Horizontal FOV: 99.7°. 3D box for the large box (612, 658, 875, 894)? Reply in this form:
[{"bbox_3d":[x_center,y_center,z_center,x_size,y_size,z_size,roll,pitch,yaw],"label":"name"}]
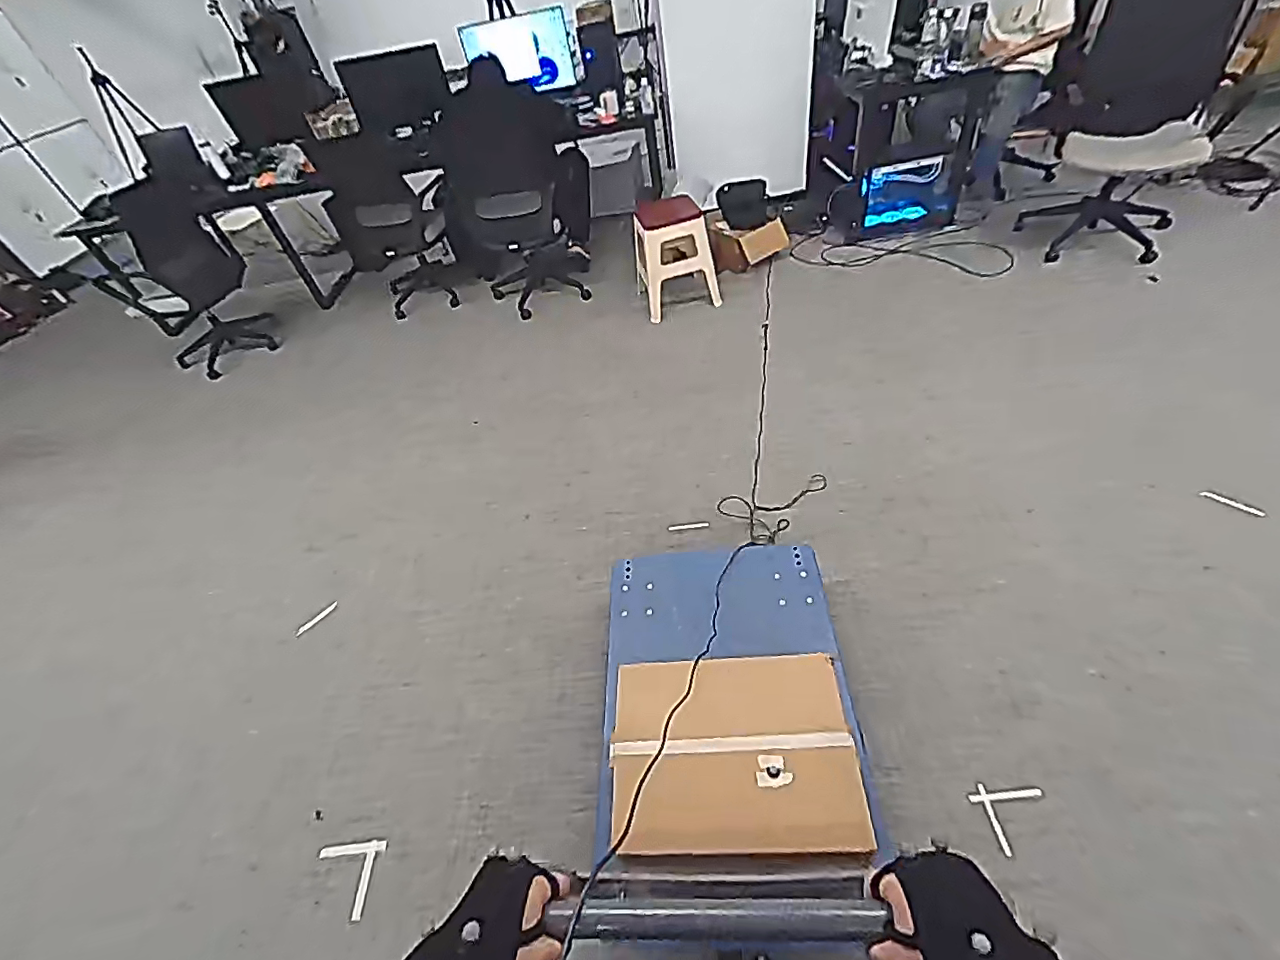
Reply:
[{"bbox_3d":[0.171,0.563,1.020,0.408,0.320,0.320,-6,46,6],"label":"large box"}]
